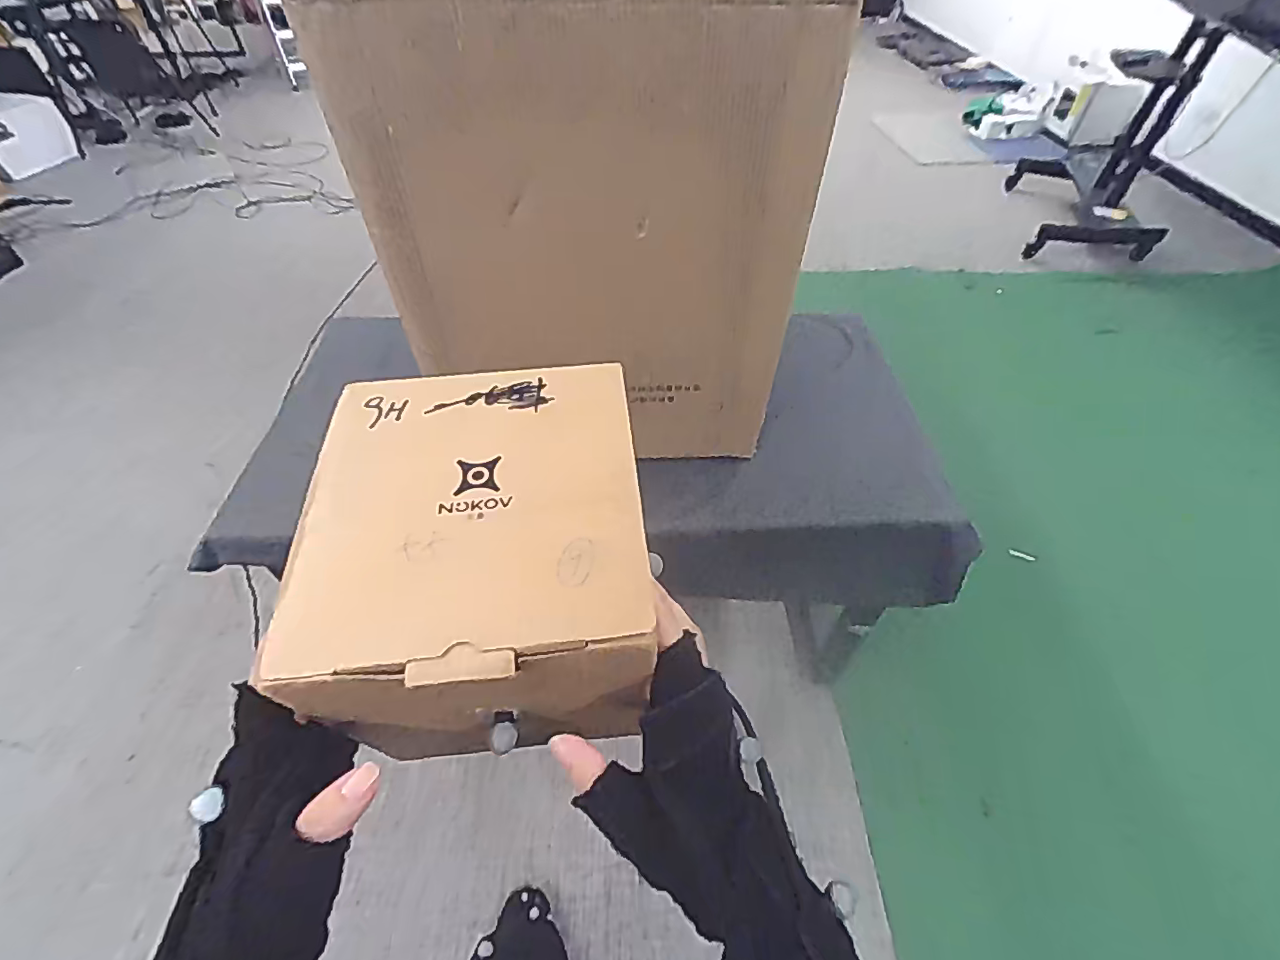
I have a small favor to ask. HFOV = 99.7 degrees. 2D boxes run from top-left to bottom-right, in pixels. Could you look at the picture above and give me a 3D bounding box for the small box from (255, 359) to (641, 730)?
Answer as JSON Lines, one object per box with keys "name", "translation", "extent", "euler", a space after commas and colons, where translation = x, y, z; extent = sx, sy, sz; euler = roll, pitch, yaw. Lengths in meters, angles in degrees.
{"name": "small box", "translation": [-0.087, 0.050, 0.341], "extent": [0.168, 0.176, 0.179], "euler": [-4, 55, -3]}
